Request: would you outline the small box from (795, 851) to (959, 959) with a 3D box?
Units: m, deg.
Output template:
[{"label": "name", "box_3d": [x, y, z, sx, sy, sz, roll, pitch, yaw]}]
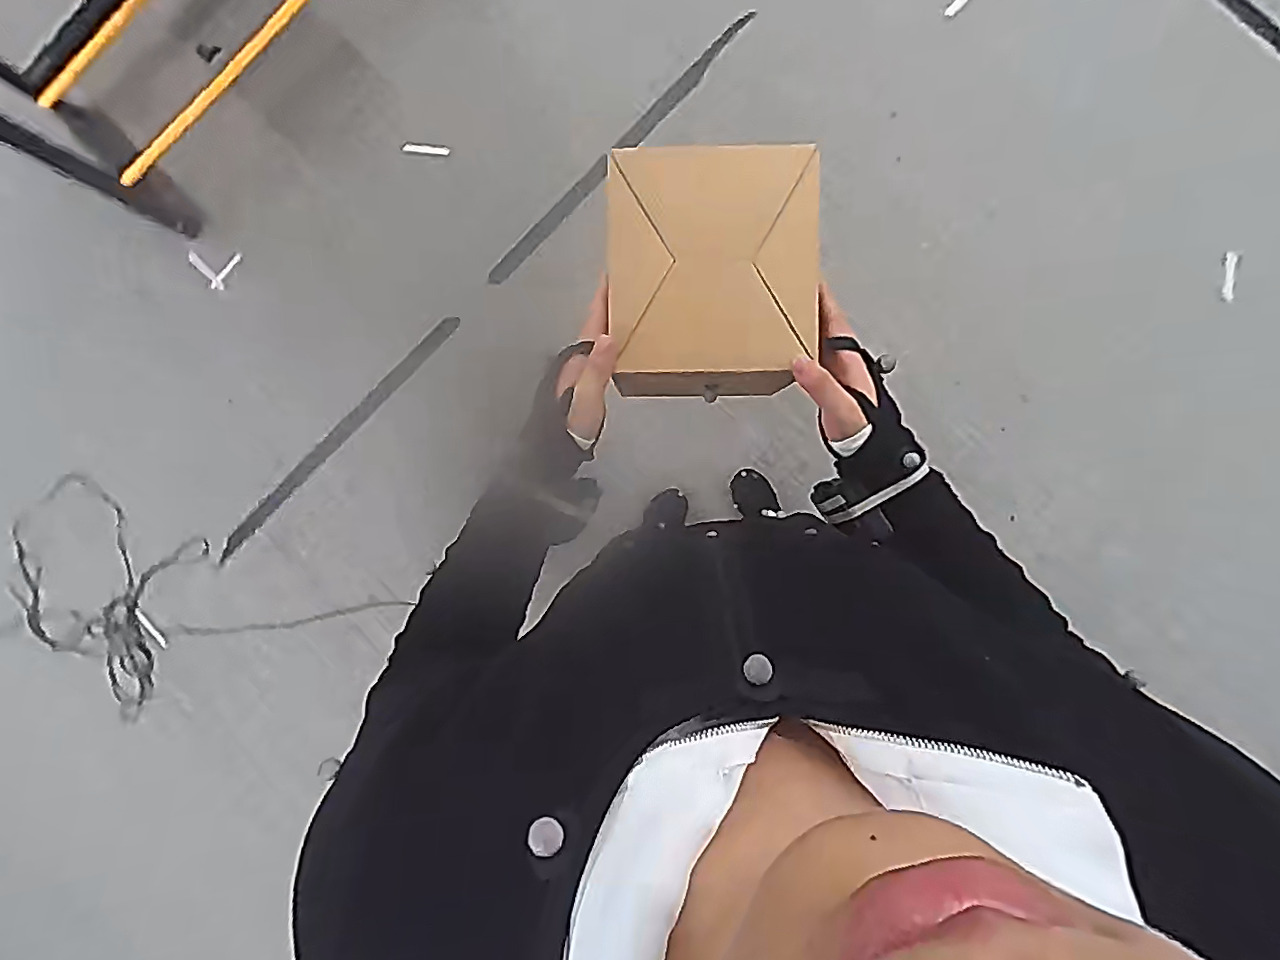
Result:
[{"label": "small box", "box_3d": [0.347, 0.687, 0.765, 0.168, 0.176, 0.179, -43, 85, 4]}]
